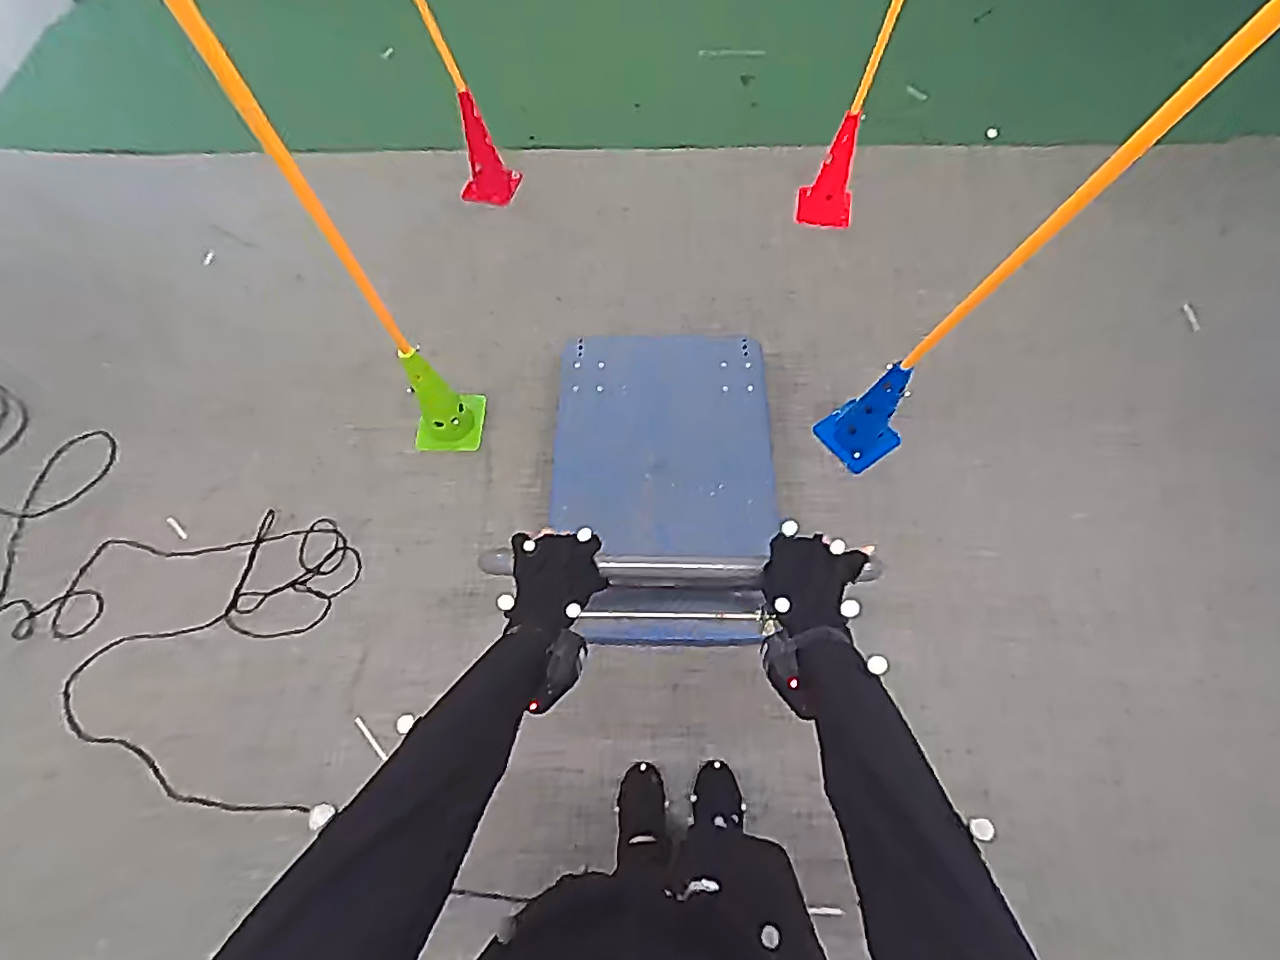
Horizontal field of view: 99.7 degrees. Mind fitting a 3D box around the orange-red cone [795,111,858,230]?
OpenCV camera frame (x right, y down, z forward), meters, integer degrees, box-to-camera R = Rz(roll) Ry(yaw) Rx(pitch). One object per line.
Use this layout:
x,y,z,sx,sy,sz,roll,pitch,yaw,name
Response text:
0.685,-1.090,1.882,0.198,0.360,0.199,11,67,7,orange-red cone
